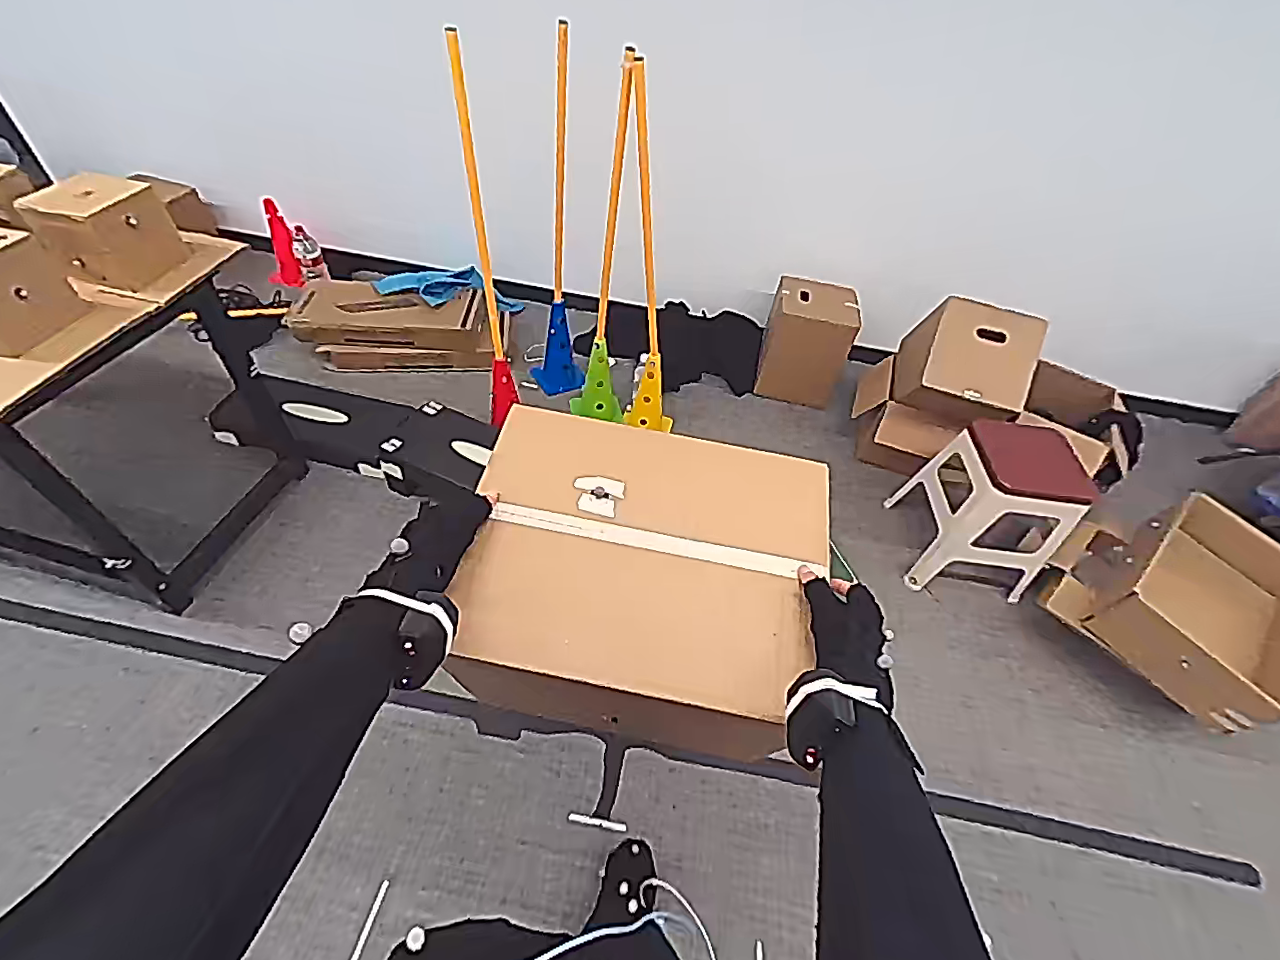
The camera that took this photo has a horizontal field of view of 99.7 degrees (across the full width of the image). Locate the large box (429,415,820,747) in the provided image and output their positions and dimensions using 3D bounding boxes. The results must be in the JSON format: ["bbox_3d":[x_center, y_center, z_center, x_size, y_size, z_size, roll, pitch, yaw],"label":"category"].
[{"bbox_3d":[-0.001,0.153,0.740,0.408,0.320,0.320,11,57,3],"label":"large box"}]
